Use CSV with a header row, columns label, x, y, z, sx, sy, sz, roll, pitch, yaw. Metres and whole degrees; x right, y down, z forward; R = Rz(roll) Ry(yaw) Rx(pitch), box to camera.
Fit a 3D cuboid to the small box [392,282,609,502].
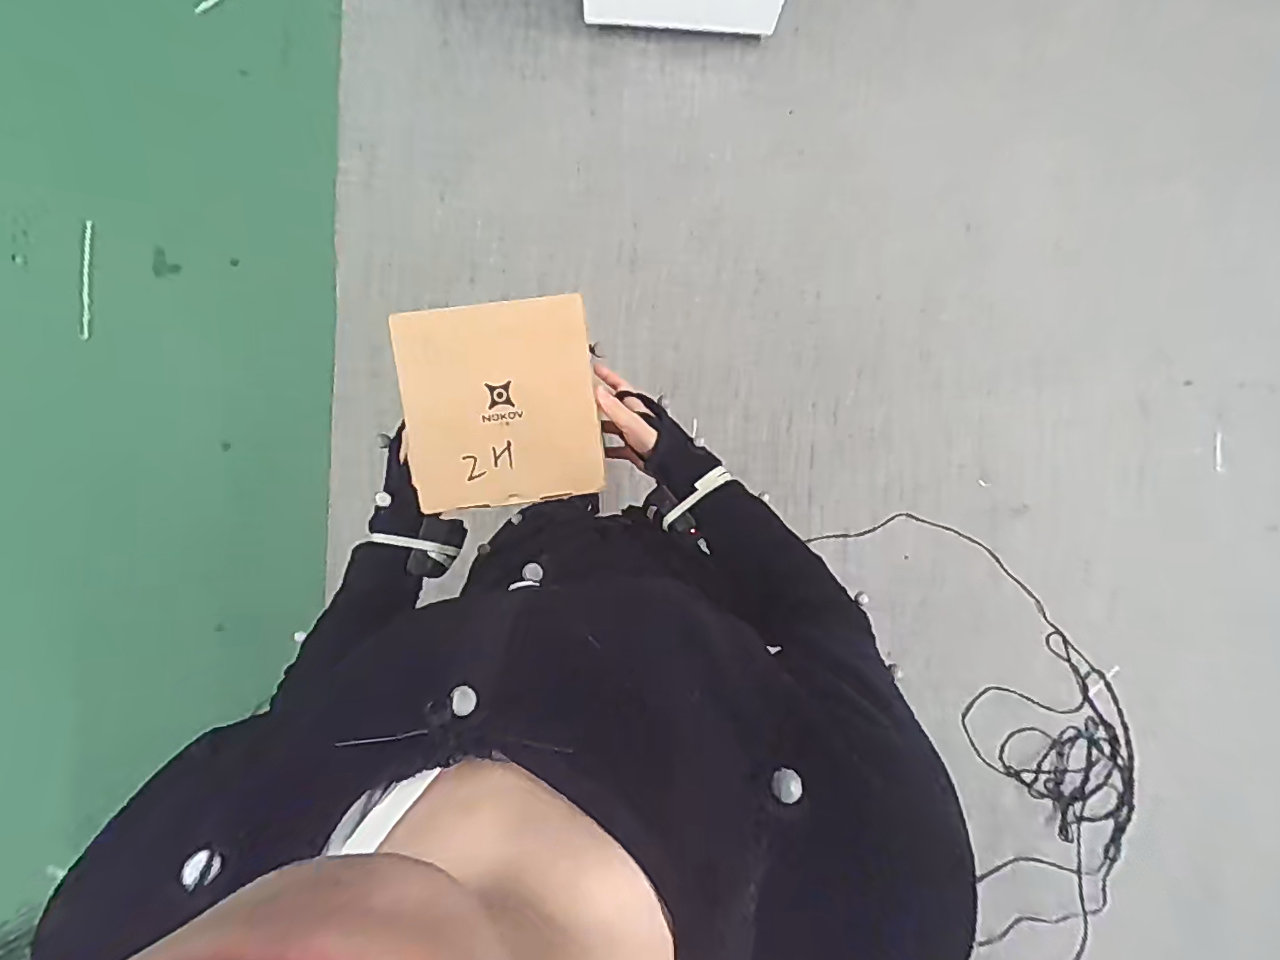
label,x,y,z,sx,sy,sz,roll,pitch,yaw
small box,-0.123,-0.081,0.541,0.168,0.176,0.179,-7,96,-3
